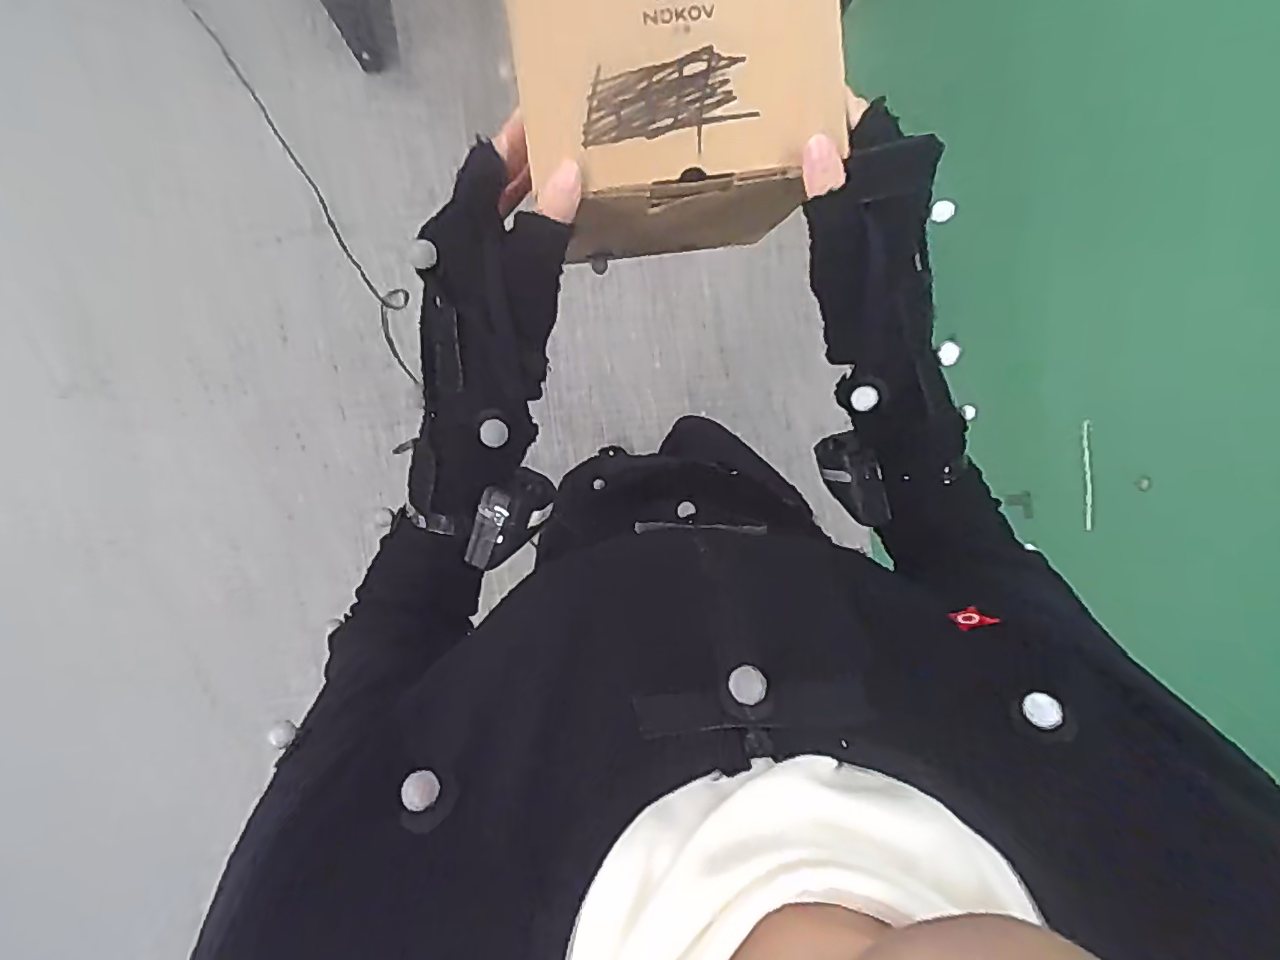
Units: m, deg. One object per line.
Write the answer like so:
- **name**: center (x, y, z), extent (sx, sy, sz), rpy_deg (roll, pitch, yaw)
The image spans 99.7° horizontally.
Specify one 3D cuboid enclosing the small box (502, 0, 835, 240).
- **small box**: center (0.009, -0.265, 0.343), extent (0.168, 0.176, 0.179), rpy_deg (-7, 100, -2)
